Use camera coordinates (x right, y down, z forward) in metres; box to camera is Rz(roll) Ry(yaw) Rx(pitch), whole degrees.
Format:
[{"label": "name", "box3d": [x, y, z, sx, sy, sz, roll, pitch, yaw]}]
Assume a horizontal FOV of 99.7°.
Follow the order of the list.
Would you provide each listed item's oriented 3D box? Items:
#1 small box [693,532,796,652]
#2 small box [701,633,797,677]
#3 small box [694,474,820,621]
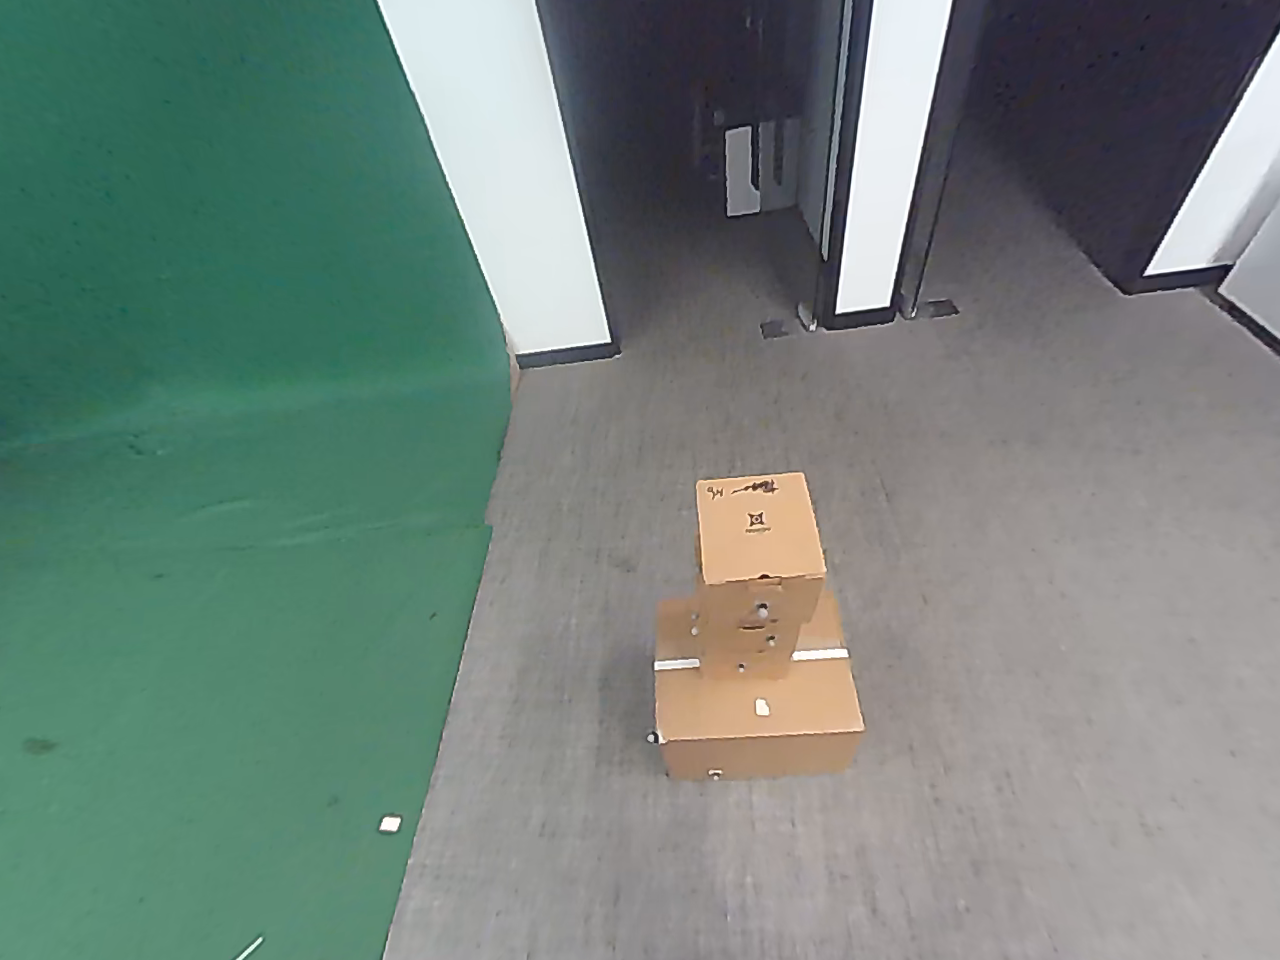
[{"label": "small box", "box3d": [0.188, 0.204, 0.983, 0.168, 0.176, 0.179, -5, 53, 6]}, {"label": "small box", "box3d": [0.213, 0.298, 1.112, 0.179, 0.176, 0.168, -6, 54, 6]}, {"label": "small box", "box3d": [0.177, 0.114, 0.846, 0.168, 0.176, 0.179, -5, 54, 7]}]
